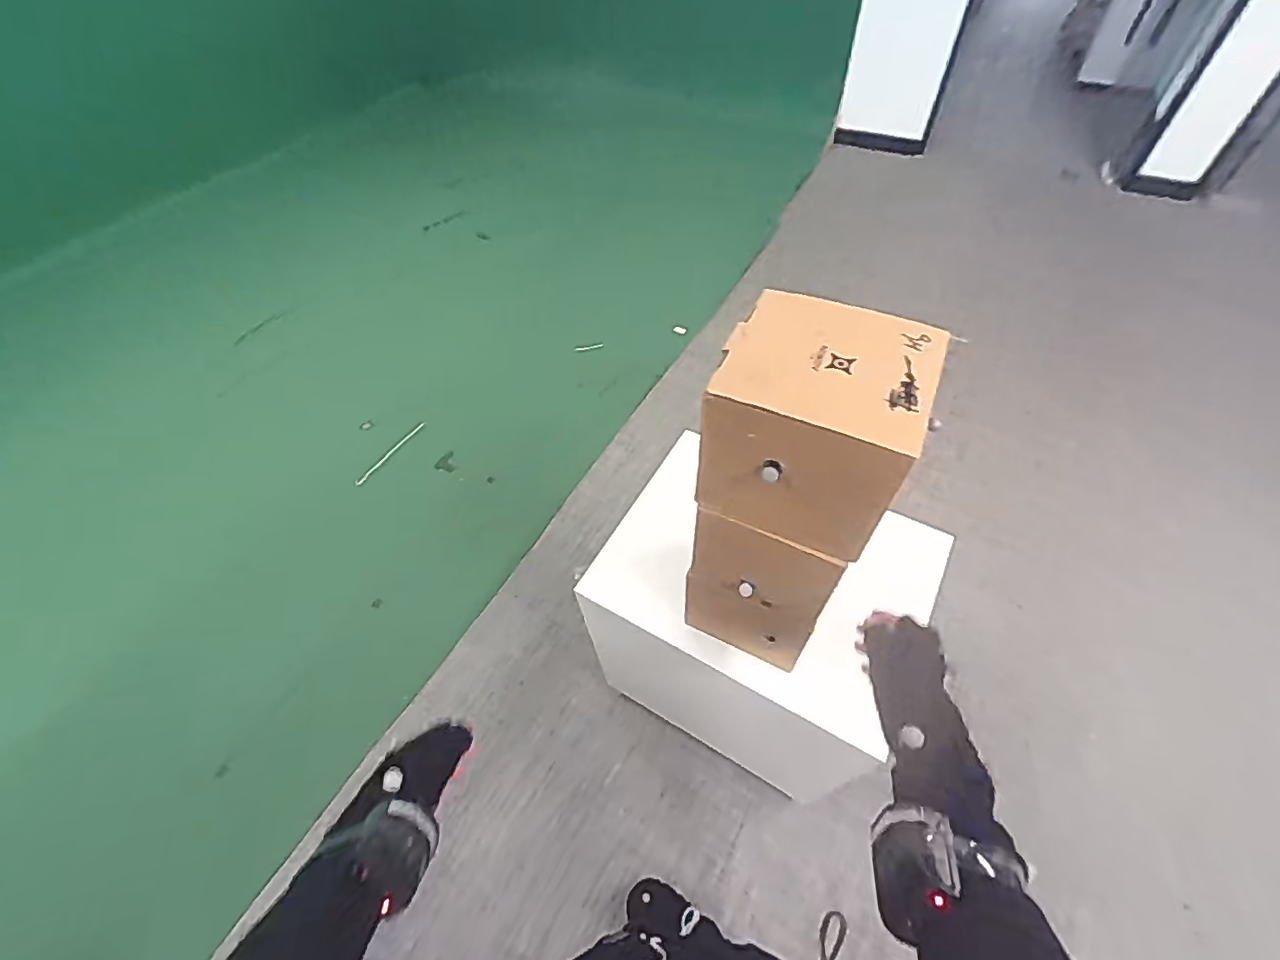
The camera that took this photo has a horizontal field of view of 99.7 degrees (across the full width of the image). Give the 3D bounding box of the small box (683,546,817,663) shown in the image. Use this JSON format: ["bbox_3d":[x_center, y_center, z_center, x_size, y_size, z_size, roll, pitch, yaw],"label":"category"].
[{"bbox_3d":[0.175,0.143,0.786,0.179,0.176,0.168,20,57,20],"label":"small box"}]

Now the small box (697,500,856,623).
[{"bbox_3d":[0.173,0.041,0.657,0.168,0.176,0.179,19,55,17],"label":"small box"}]

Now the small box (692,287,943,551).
[{"bbox_3d":[0.160,-0.056,0.526,0.179,0.176,0.168,20,57,18],"label":"small box"}]
